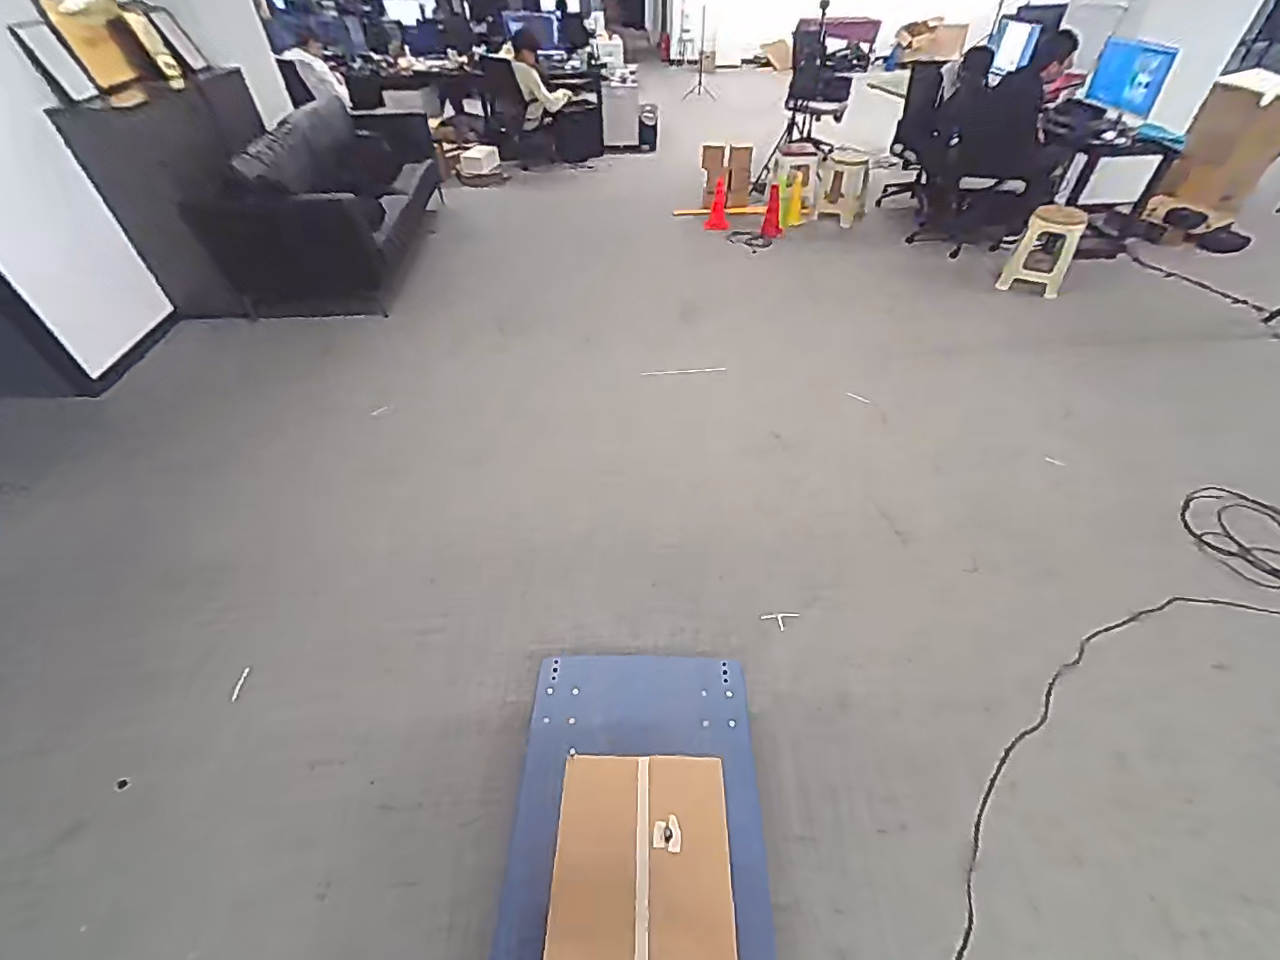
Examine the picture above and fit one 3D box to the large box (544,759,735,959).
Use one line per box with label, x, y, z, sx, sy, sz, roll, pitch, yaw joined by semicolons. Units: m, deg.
large box;0.003;0.812;1.053;0.320;0.320;0.408;1;44;1
